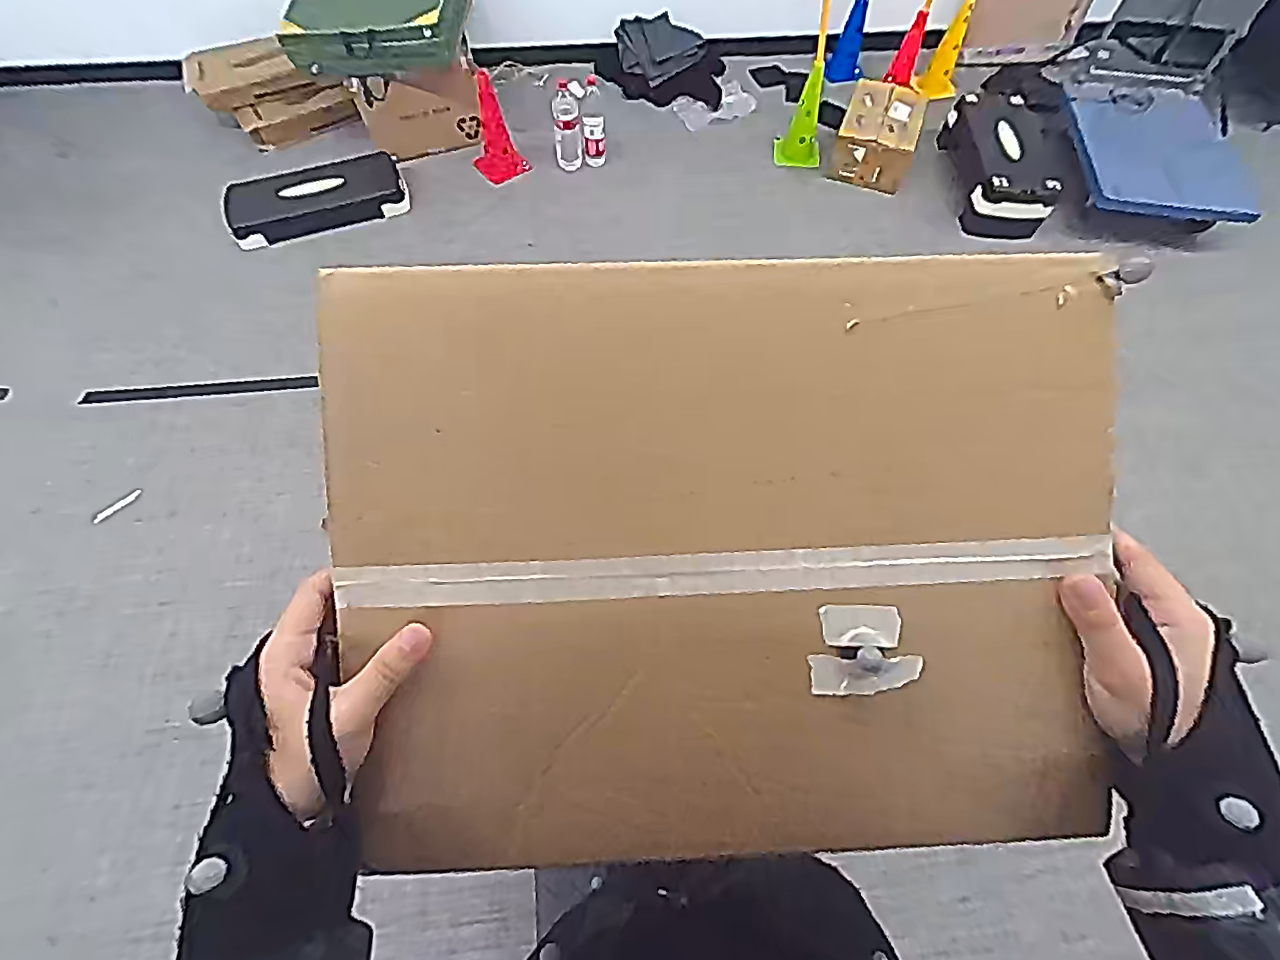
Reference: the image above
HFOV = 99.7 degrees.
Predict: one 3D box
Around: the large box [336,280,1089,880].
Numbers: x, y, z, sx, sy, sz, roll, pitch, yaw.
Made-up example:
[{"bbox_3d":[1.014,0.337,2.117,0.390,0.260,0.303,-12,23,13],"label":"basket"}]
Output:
[{"bbox_3d":[0.040,0.046,0.441,0.408,0.320,0.320,-2,94,-3],"label":"large box"}]
